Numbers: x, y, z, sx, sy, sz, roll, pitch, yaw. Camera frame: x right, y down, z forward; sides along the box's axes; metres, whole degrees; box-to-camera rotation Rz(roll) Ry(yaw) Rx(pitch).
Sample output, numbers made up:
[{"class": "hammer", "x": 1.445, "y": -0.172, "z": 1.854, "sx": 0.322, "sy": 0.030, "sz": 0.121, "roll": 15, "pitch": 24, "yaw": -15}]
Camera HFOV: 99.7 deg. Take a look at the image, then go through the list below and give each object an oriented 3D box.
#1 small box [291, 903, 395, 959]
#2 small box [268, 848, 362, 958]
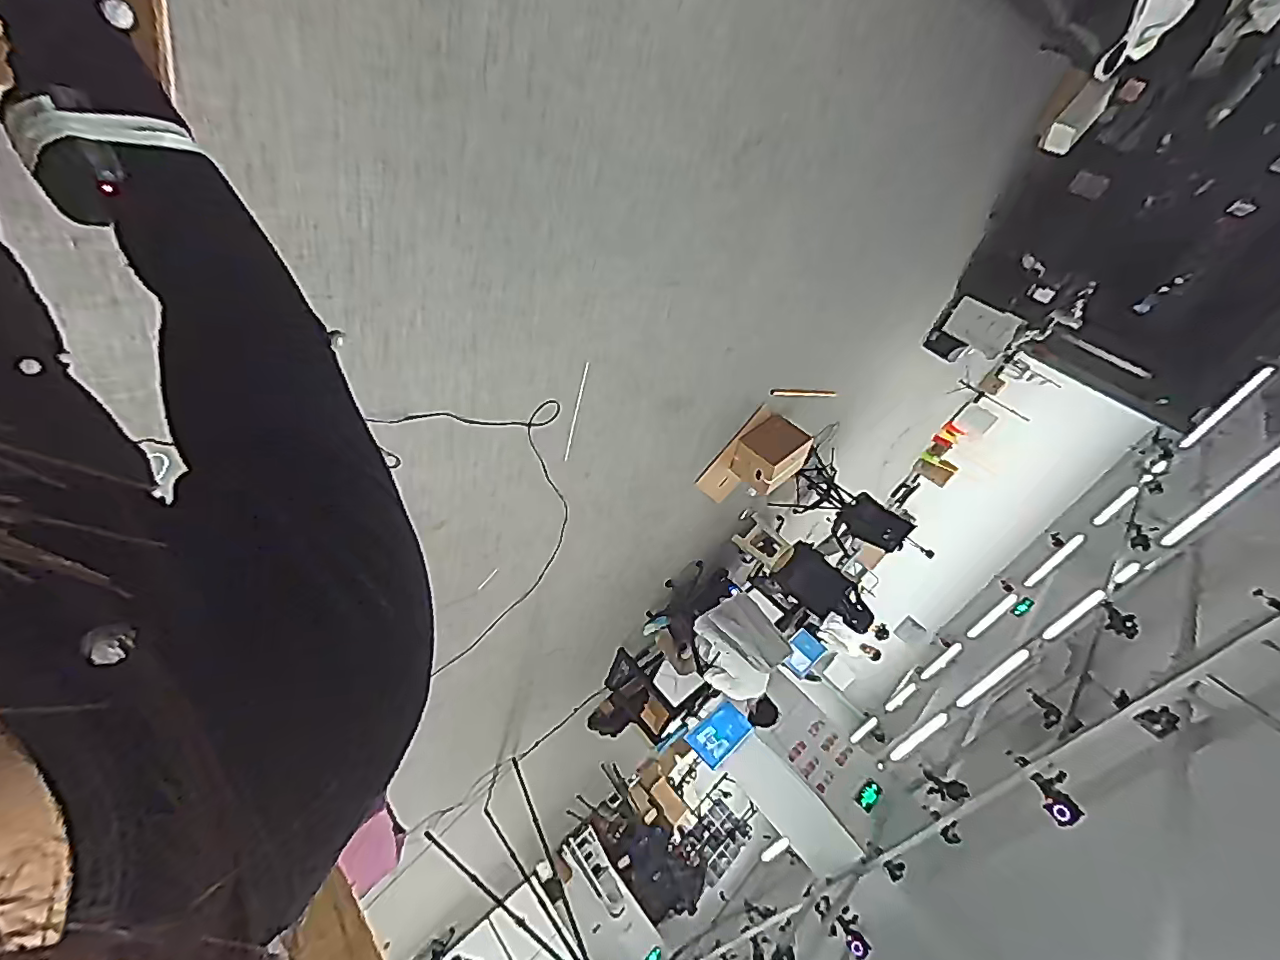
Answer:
[{"class": "small box", "x": -0.746, "y": 1.225, "z": 1.372, "sx": 0.179, "sy": 0.176, "sz": 0.168, "roll": -26, "pitch": 147, "yaw": -35}, {"class": "small box", "x": -0.857, "y": 1.127, "z": 1.439, "sx": 0.168, "sy": 0.176, "sz": 0.179, "roll": -25, "pitch": 147, "yaw": -37}]
